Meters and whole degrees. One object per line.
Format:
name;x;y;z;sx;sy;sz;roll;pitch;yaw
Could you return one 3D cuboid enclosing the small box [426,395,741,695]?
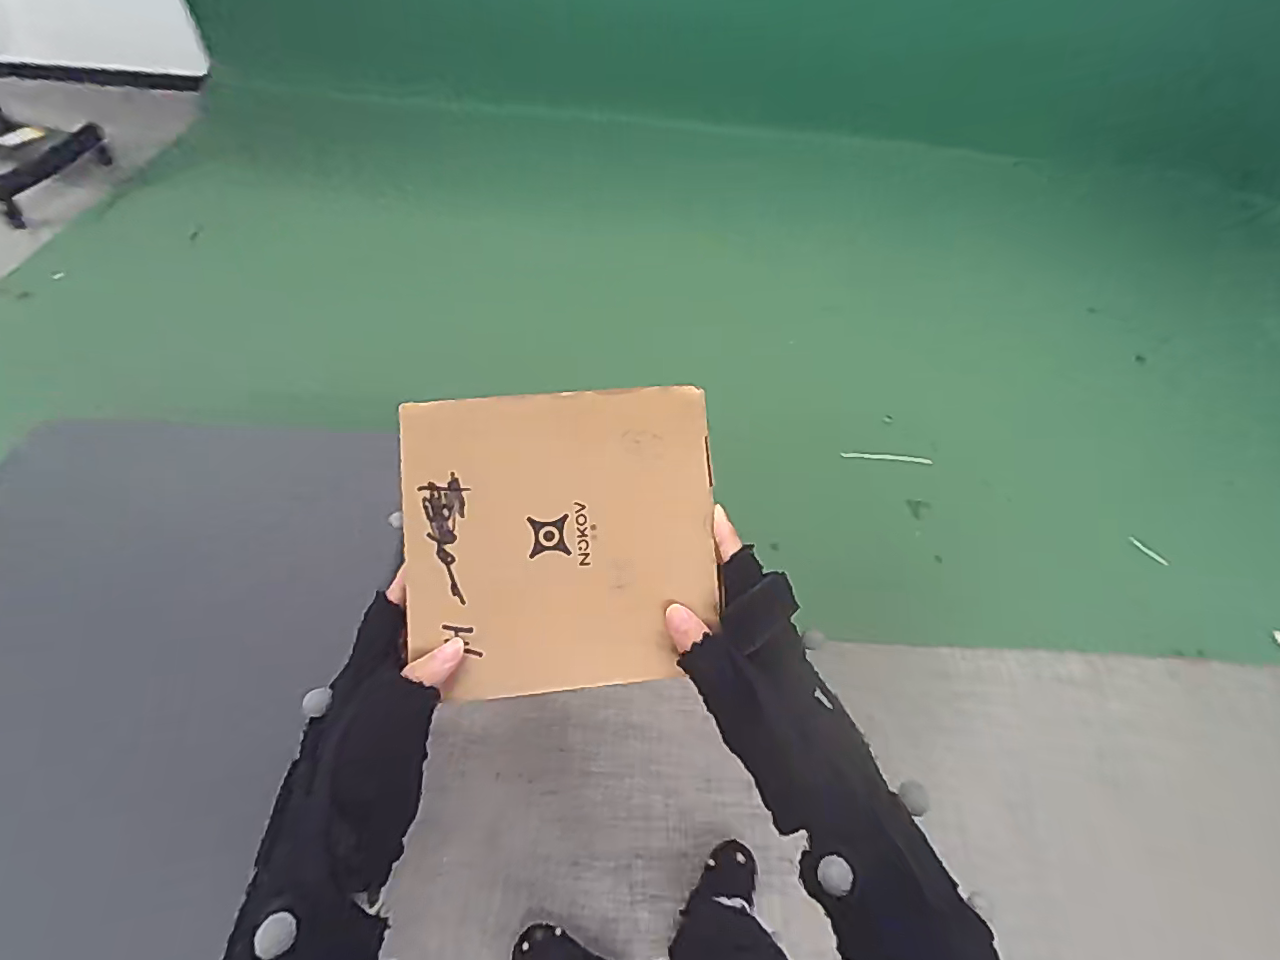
small box;-0.040;0.042;0.389;0.179;0.176;0.168;-3;82;-6
